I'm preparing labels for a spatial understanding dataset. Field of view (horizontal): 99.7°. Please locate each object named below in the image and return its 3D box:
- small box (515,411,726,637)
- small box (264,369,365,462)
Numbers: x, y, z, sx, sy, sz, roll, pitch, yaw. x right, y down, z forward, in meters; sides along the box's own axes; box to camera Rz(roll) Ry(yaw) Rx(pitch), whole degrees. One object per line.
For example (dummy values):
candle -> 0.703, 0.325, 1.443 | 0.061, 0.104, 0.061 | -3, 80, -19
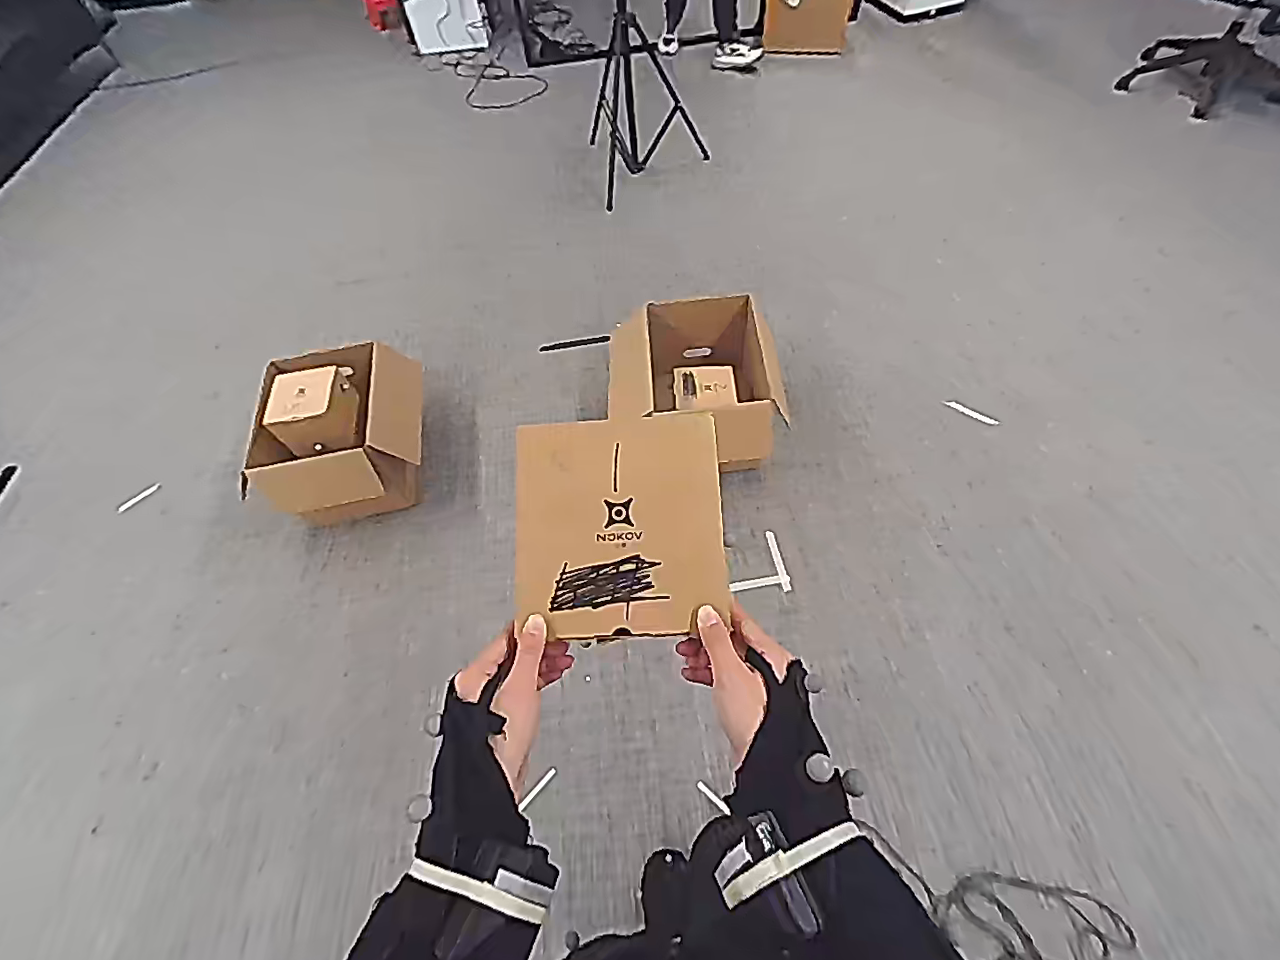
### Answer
small box -> -0.011, 0.049, 0.506 | 0.168, 0.176, 0.179 | -3, 76, 3
small box -> -0.887, -0.176, 1.493 | 0.168, 0.176, 0.179 | -10, 57, 0
